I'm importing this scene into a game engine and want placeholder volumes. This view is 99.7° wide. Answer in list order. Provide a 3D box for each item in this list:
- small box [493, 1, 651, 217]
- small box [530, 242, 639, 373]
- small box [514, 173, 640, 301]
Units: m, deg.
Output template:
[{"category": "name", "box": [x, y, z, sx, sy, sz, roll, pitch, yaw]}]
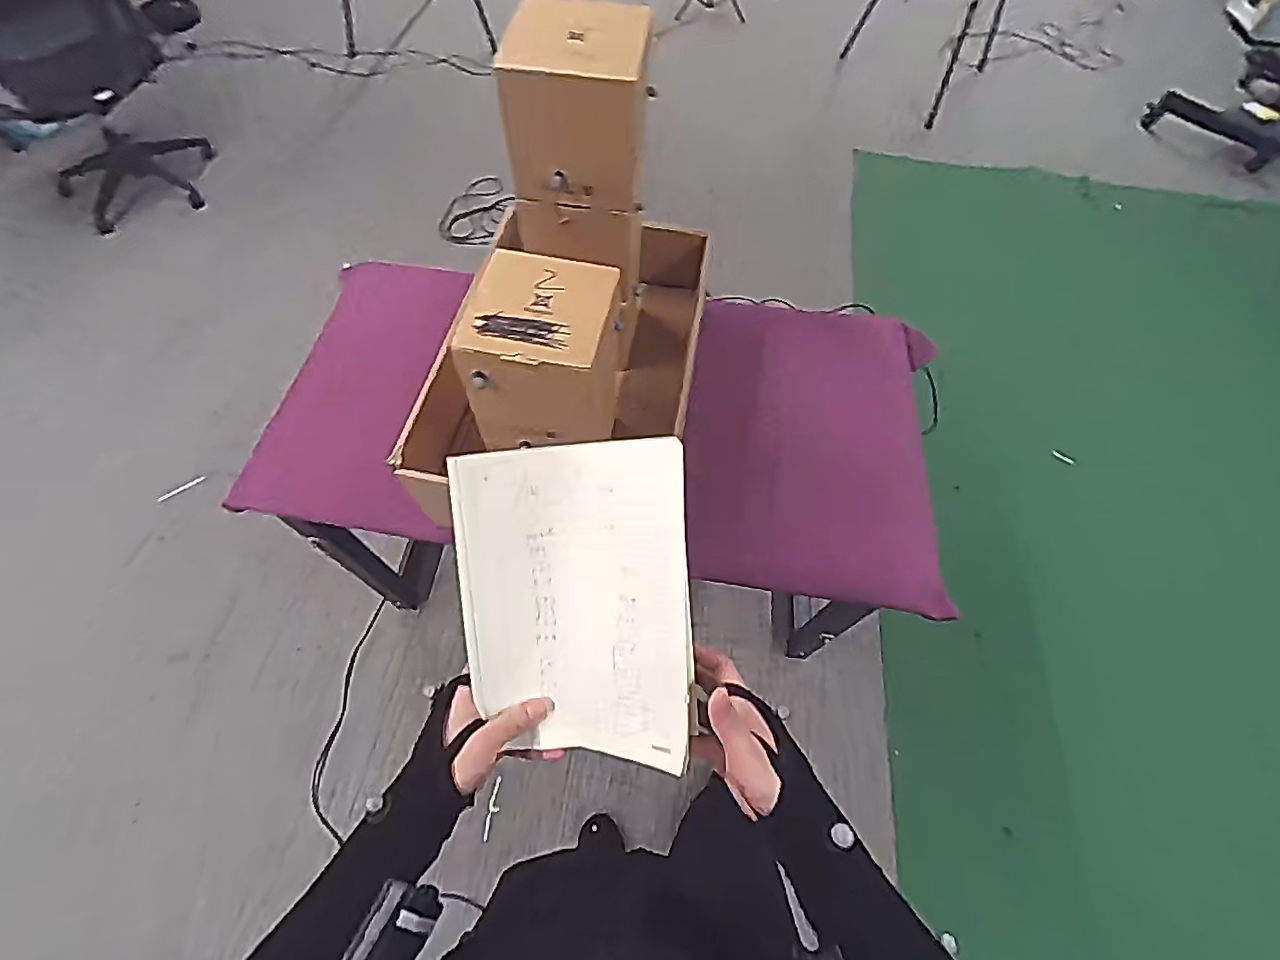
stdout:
[{"category": "small box", "box": [-0.081, -0.487, 0.720, 0.168, 0.176, 0.179, 7, 63, 1]}, {"category": "small box", "box": [-0.097, -0.328, 1.005, 0.168, 0.176, 0.179, 8, 63, 1]}, {"category": "small box", "box": [-0.089, -0.412, 0.864, 0.168, 0.176, 0.179, 7, 62, 1]}]
